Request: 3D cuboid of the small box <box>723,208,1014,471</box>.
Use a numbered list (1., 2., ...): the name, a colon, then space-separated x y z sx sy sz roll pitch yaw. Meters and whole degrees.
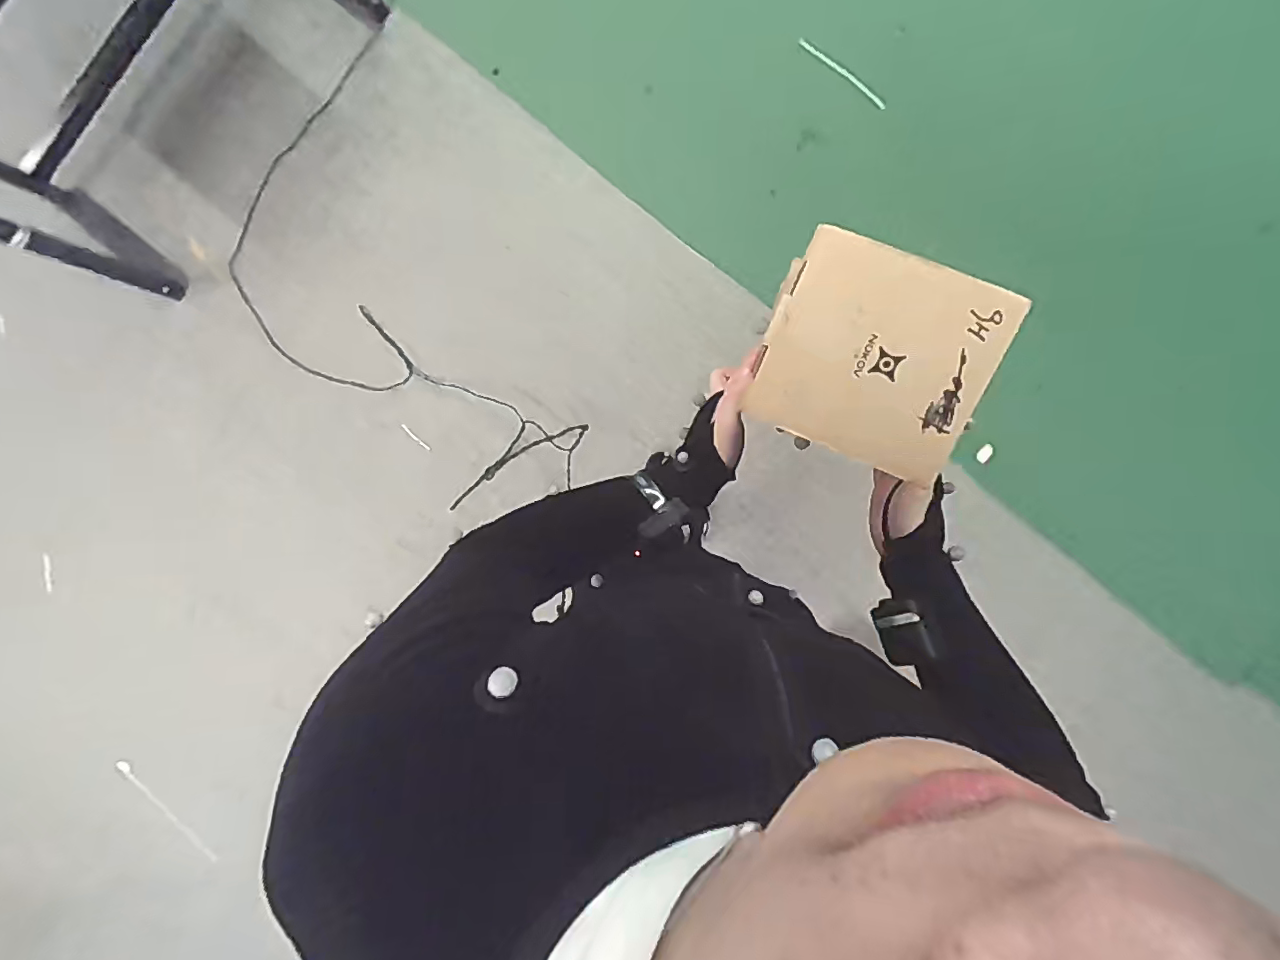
1. small box: 0.195 -0.125 0.517 0.179 0.176 0.168 24 104 7
